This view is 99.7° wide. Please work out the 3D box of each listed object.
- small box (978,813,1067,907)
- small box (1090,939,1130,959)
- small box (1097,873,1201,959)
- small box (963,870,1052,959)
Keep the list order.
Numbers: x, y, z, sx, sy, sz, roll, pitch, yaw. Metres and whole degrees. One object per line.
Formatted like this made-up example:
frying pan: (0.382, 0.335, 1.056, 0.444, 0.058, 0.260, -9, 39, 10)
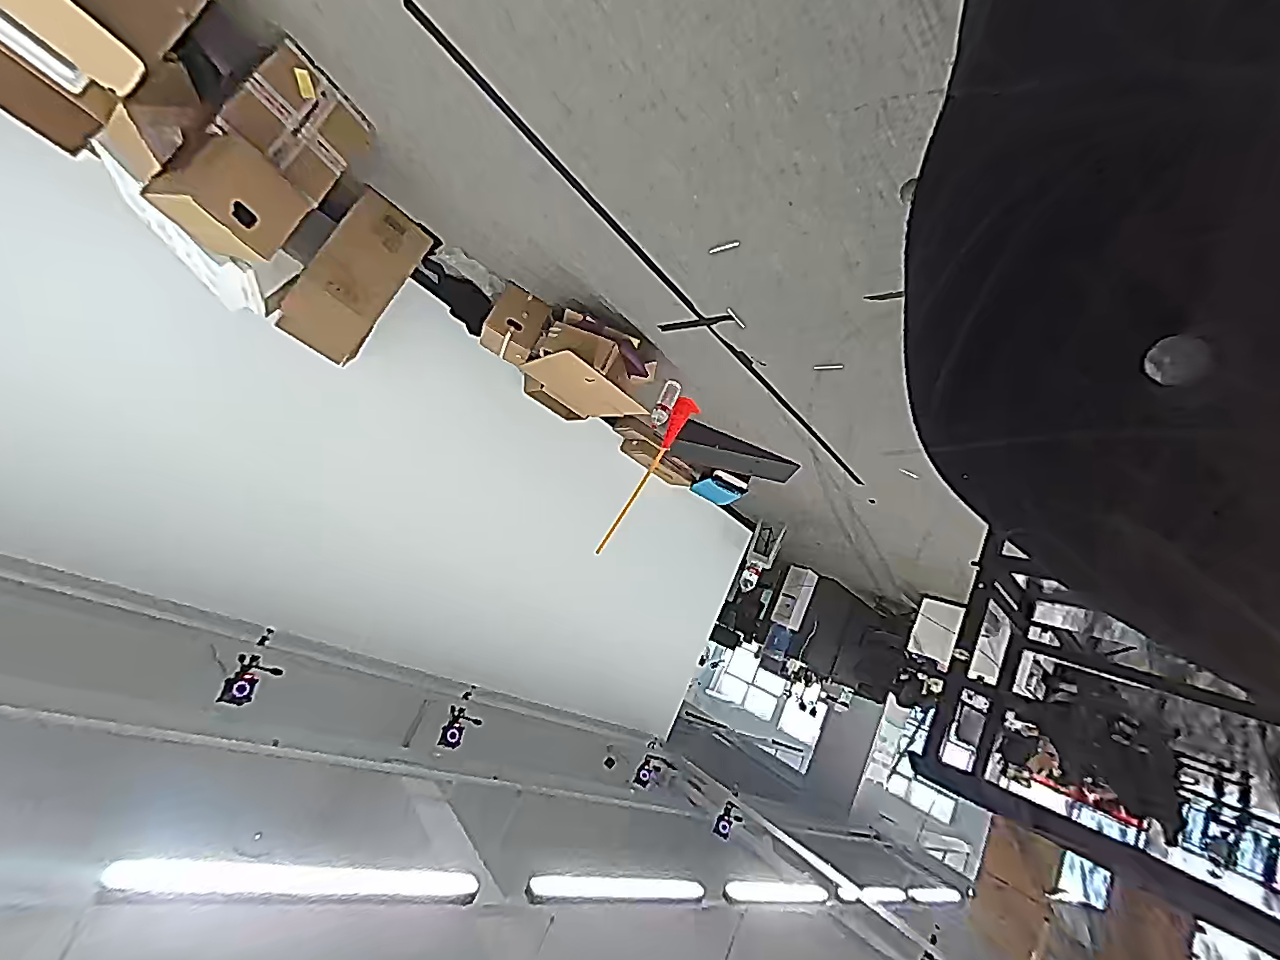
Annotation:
small box: (1.140, 1.120, 1.605, 0.179, 0.176, 0.168, 34, 164, -38)
small box: (1.244, 1.296, 1.363, 0.179, 0.176, 0.168, 34, 165, -38)
small box: (1.310, 1.150, 1.391, 0.179, 0.176, 0.168, 32, 167, -37)
small box: (1.072, 1.266, 1.574, 0.179, 0.176, 0.168, 35, 165, -38)
